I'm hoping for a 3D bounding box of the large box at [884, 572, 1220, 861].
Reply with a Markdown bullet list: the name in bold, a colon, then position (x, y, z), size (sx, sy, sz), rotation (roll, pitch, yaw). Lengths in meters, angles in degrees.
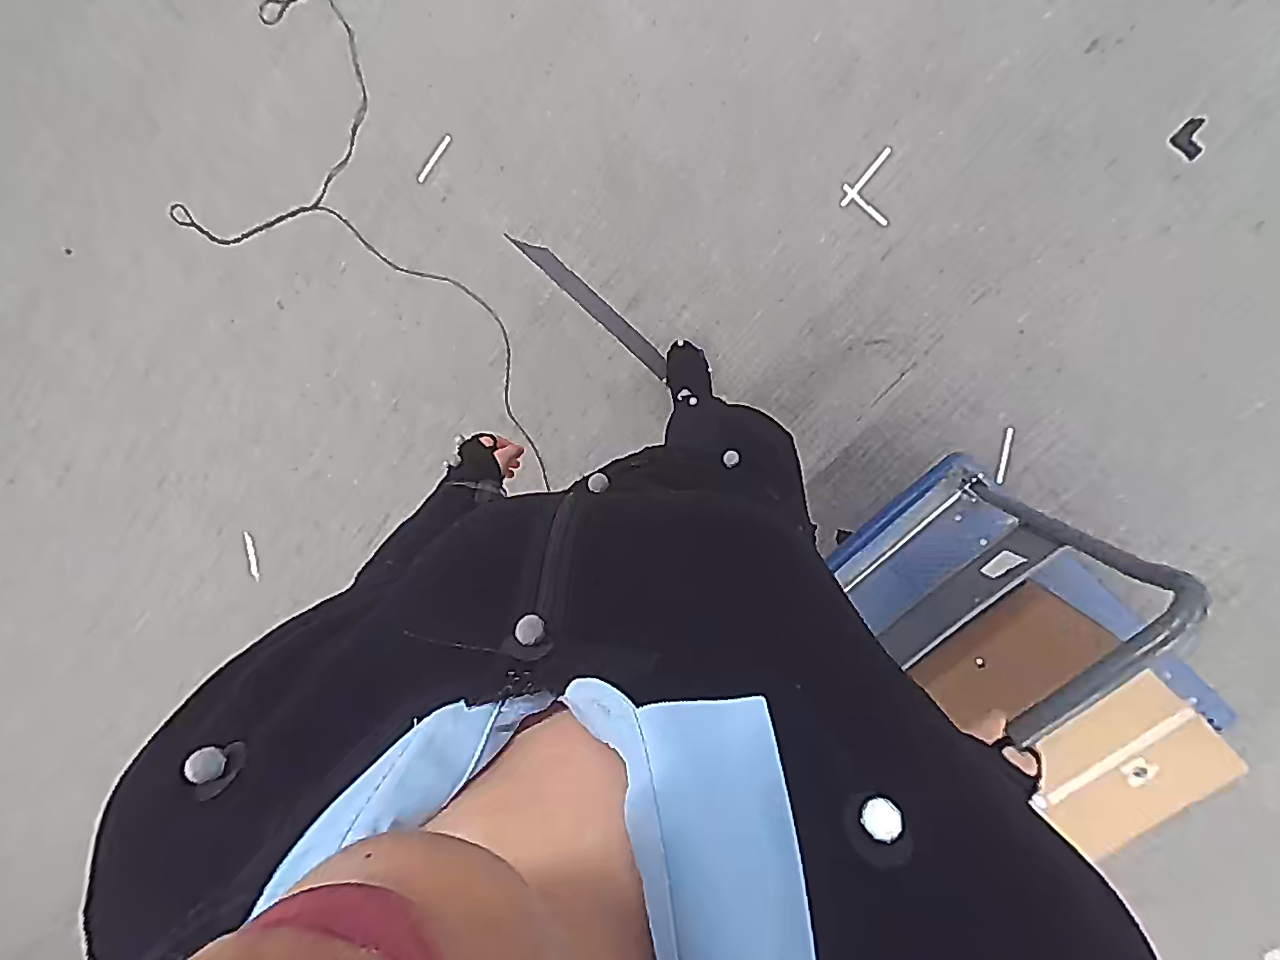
- **large box**: position (0.813, 0.474, 1.147), size (0.320, 0.320, 0.408), rotation (44, 103, -2)
